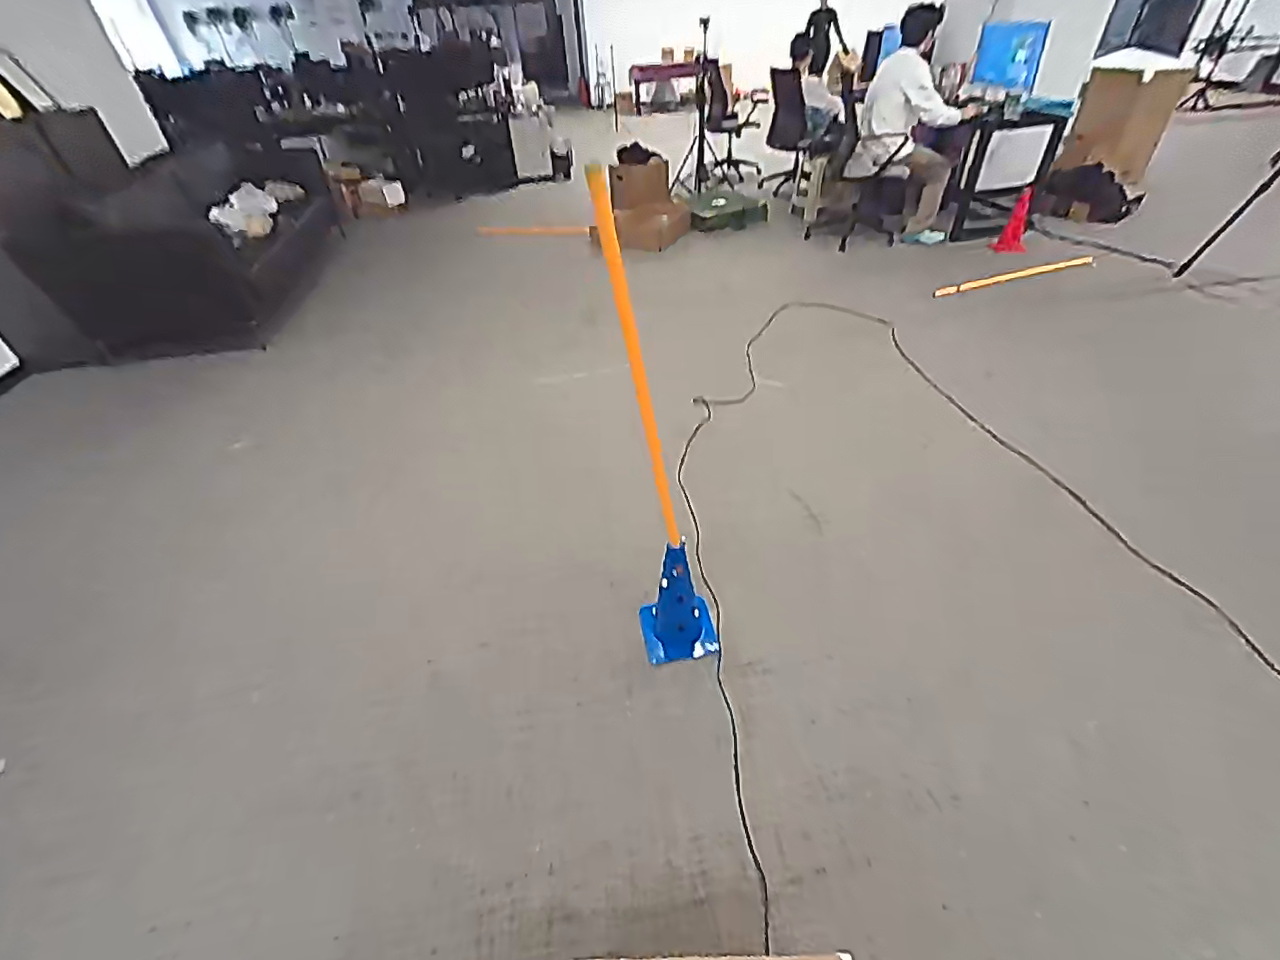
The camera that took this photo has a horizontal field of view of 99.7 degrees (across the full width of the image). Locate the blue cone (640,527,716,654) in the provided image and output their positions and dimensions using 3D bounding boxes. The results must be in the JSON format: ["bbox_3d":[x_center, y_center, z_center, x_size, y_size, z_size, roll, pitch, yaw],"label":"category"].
[{"bbox_3d":[0.095,0.273,1.423,0.193,0.380,0.192,-12,41,-6],"label":"blue cone"}]
